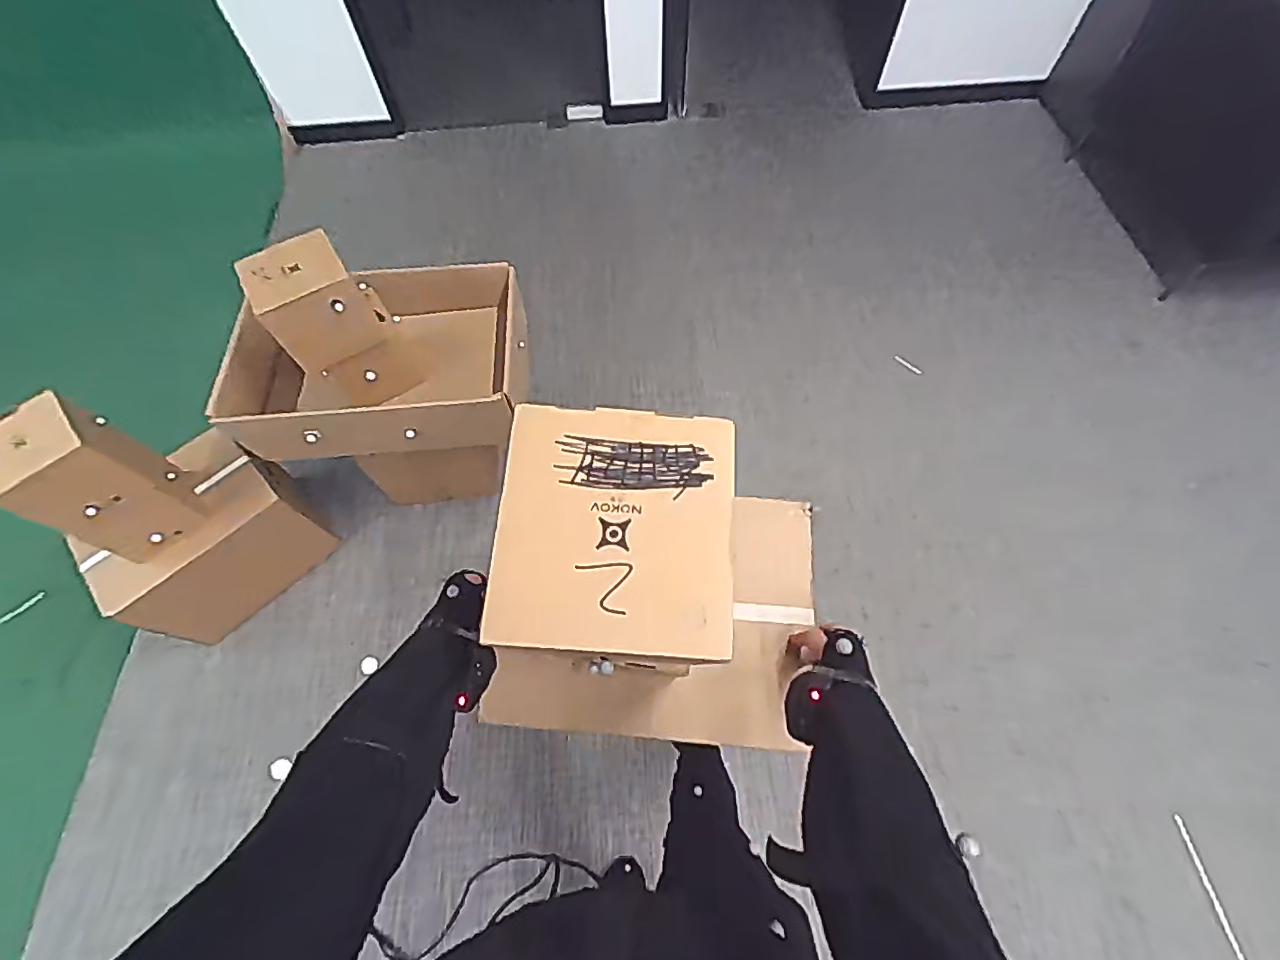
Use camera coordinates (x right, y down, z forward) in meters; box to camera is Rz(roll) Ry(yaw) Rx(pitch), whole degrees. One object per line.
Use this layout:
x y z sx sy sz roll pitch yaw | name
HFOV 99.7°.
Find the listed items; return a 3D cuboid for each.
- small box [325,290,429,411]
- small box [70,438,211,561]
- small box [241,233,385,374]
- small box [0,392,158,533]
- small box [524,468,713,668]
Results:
-0.618 -0.288 1.234 0.179 0.176 0.168 -32 67 -14 | small box
-1.103 0.048 1.185 0.168 0.176 0.179 -38 68 -17 | small box
-0.638 -0.347 1.080 0.179 0.176 0.168 -30 65 -13 | small box
-1.099 -0.028 1.041 0.168 0.176 0.179 -41 68 -17 | small box
-0.019 0.107 0.609 0.168 0.176 0.179 9 70 2 | small box
